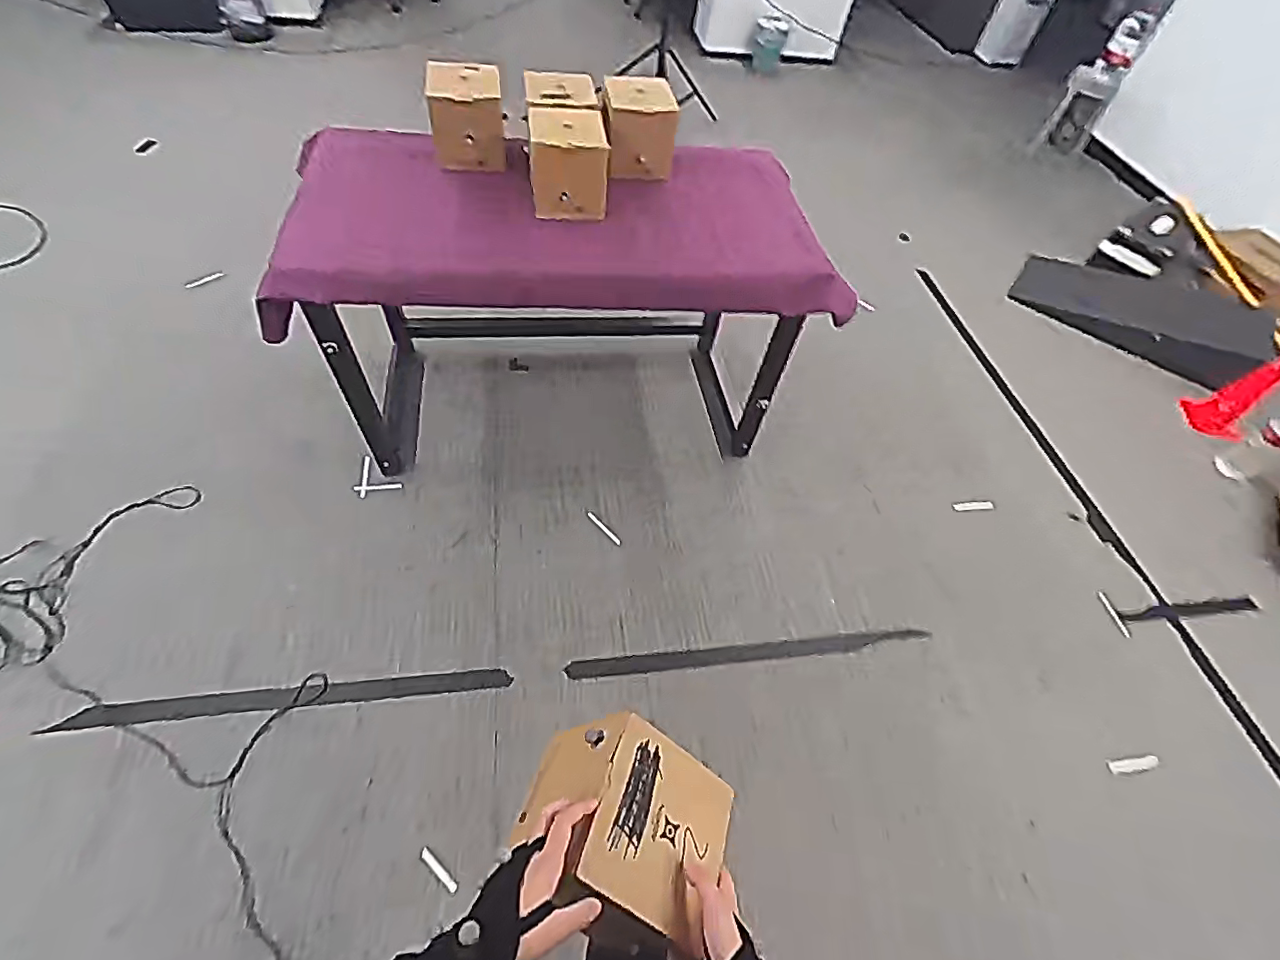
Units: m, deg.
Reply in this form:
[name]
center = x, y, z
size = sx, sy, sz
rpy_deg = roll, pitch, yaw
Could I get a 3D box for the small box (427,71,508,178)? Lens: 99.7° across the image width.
[small box]
center = -0.420, -0.874, 1.336
size = 0.168, 0.176, 0.179
rpy_deg = -4, 58, -10
